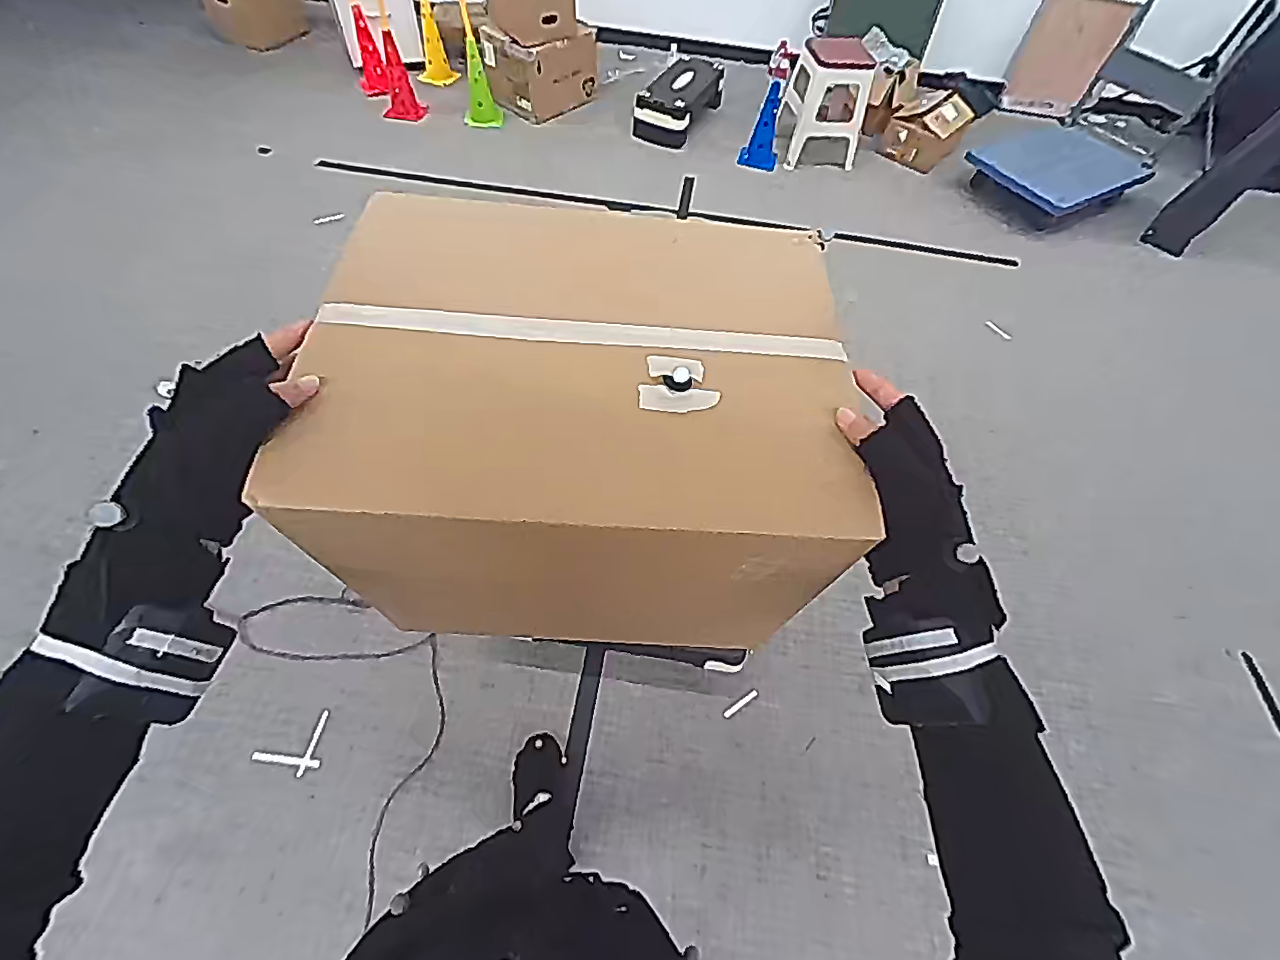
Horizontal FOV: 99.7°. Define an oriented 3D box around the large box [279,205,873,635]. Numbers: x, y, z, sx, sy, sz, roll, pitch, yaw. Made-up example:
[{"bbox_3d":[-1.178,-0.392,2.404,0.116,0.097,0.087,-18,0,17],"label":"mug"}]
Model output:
[{"bbox_3d":[-0.048,-0.034,0.559,0.408,0.320,0.320,4,61,-4],"label":"large box"}]
